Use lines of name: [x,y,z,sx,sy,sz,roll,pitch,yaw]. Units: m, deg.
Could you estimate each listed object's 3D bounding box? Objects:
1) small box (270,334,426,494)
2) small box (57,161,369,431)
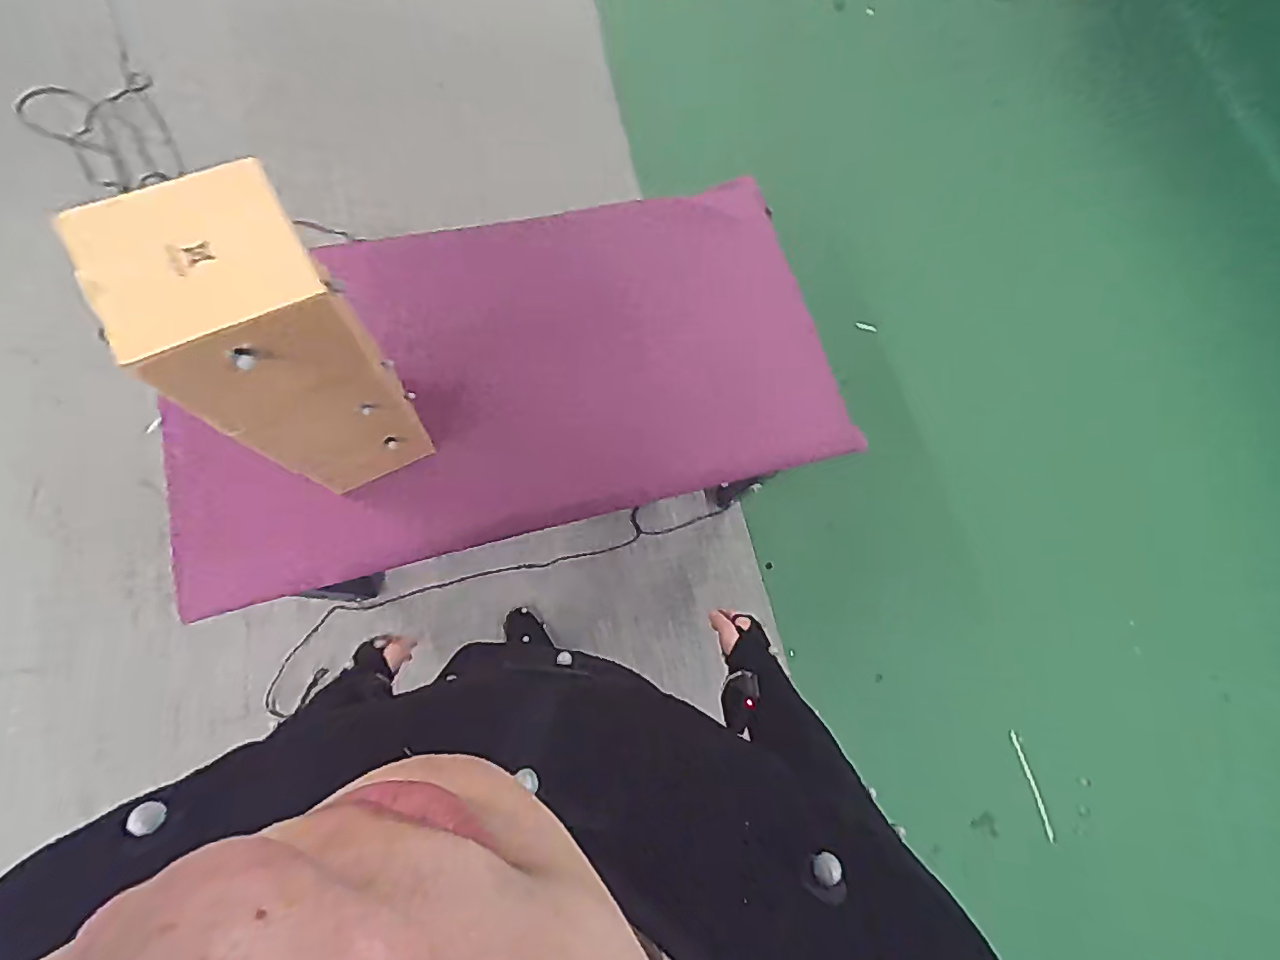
small box: [-0.464,-0.098,0.870,0.179,0.176,0.168,-28,81,-15]
small box: [-0.407,-0.176,0.558,0.179,0.176,0.168,-29,82,-15]
